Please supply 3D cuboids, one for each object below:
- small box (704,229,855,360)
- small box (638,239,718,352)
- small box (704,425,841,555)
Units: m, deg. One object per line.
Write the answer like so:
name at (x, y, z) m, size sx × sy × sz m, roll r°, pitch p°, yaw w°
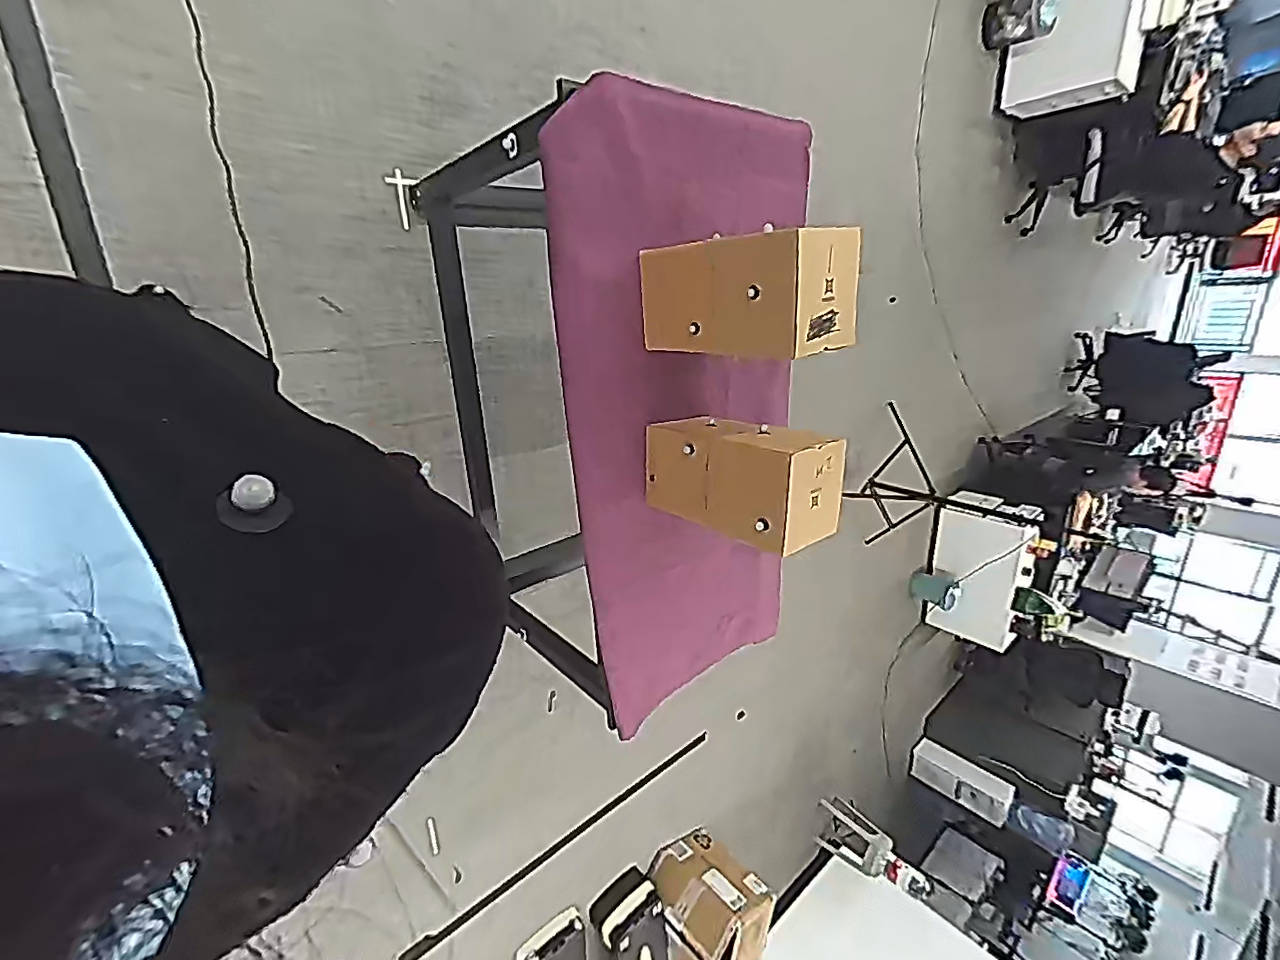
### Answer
small box at (0.216, -0.294, 0.857) m, size 0.168 × 0.176 × 0.179 m, roll -21°, pitch 116°, yaw -37°
small box at (0.111, -0.332, 0.978) m, size 0.168 × 0.176 × 0.179 m, roll -21°, pitch 116°, yaw -37°
small box at (0.227, 0.008, 0.952) m, size 0.168 × 0.176 × 0.179 m, roll -14°, pitch 111°, yaw -40°
